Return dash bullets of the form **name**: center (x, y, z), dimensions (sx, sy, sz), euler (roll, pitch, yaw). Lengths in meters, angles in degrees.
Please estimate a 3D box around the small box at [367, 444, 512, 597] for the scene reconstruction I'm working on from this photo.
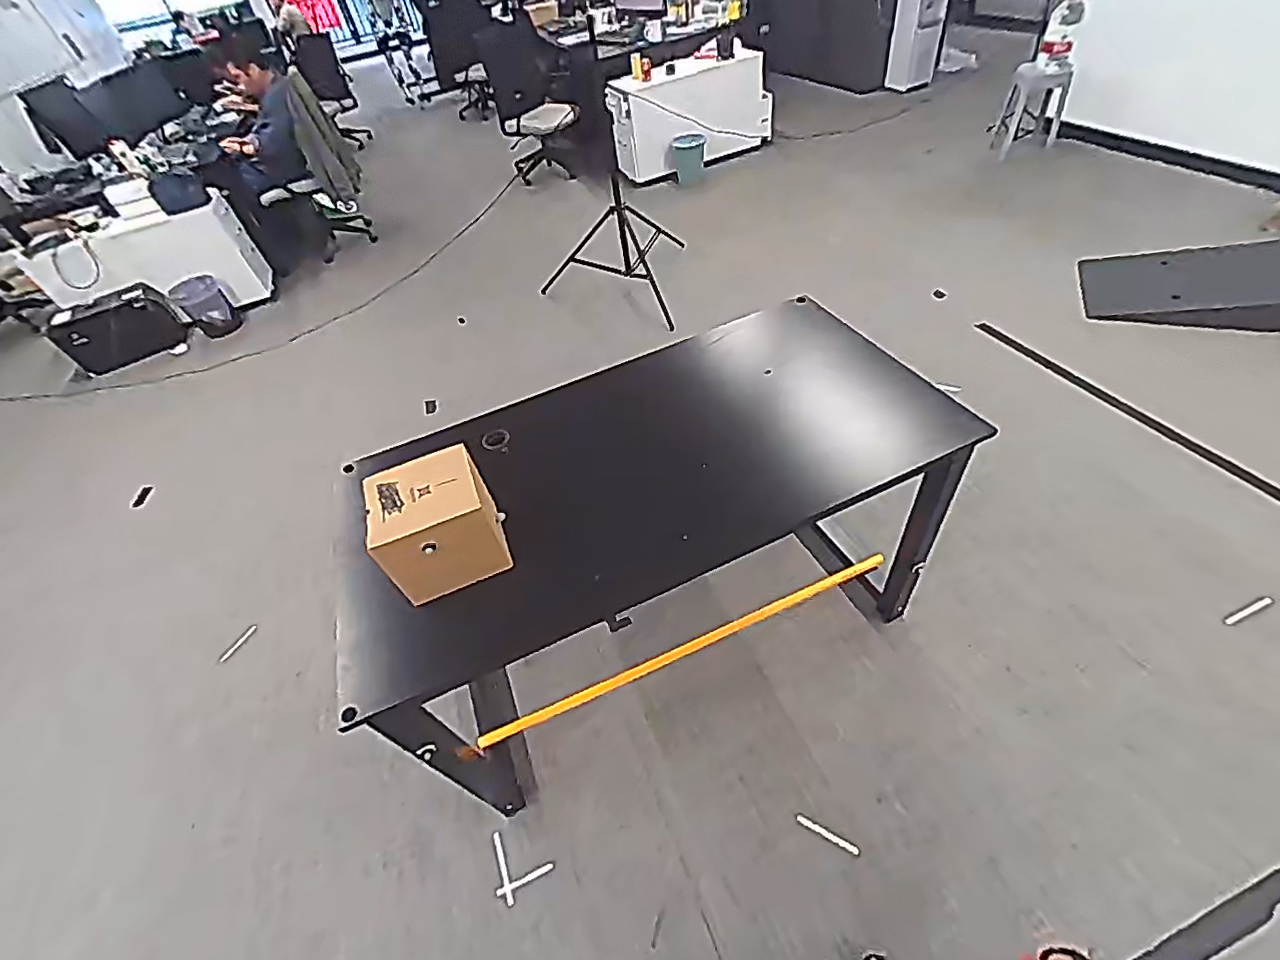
- **small box**: center (-0.341, 0.073, 0.930), dimensions (0.179, 0.176, 0.168), euler (-21, 48, -10)
